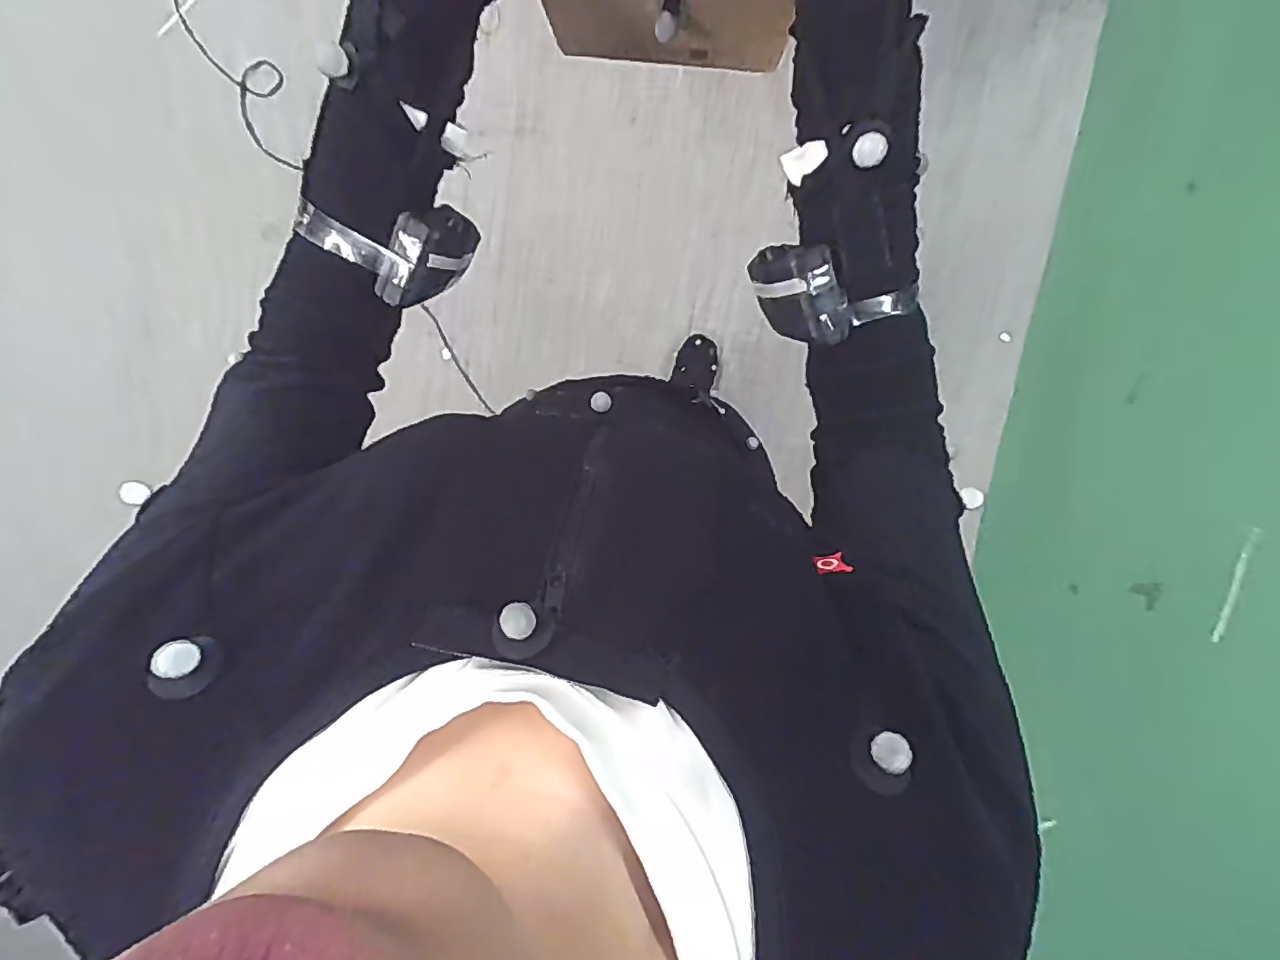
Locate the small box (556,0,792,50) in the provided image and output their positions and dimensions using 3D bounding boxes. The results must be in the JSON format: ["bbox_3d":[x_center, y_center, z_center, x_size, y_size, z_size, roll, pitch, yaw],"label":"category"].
[{"bbox_3d":[0.024,-0.384,0.307,0.168,0.176,0.179,6,107,2],"label":"small box"}]
